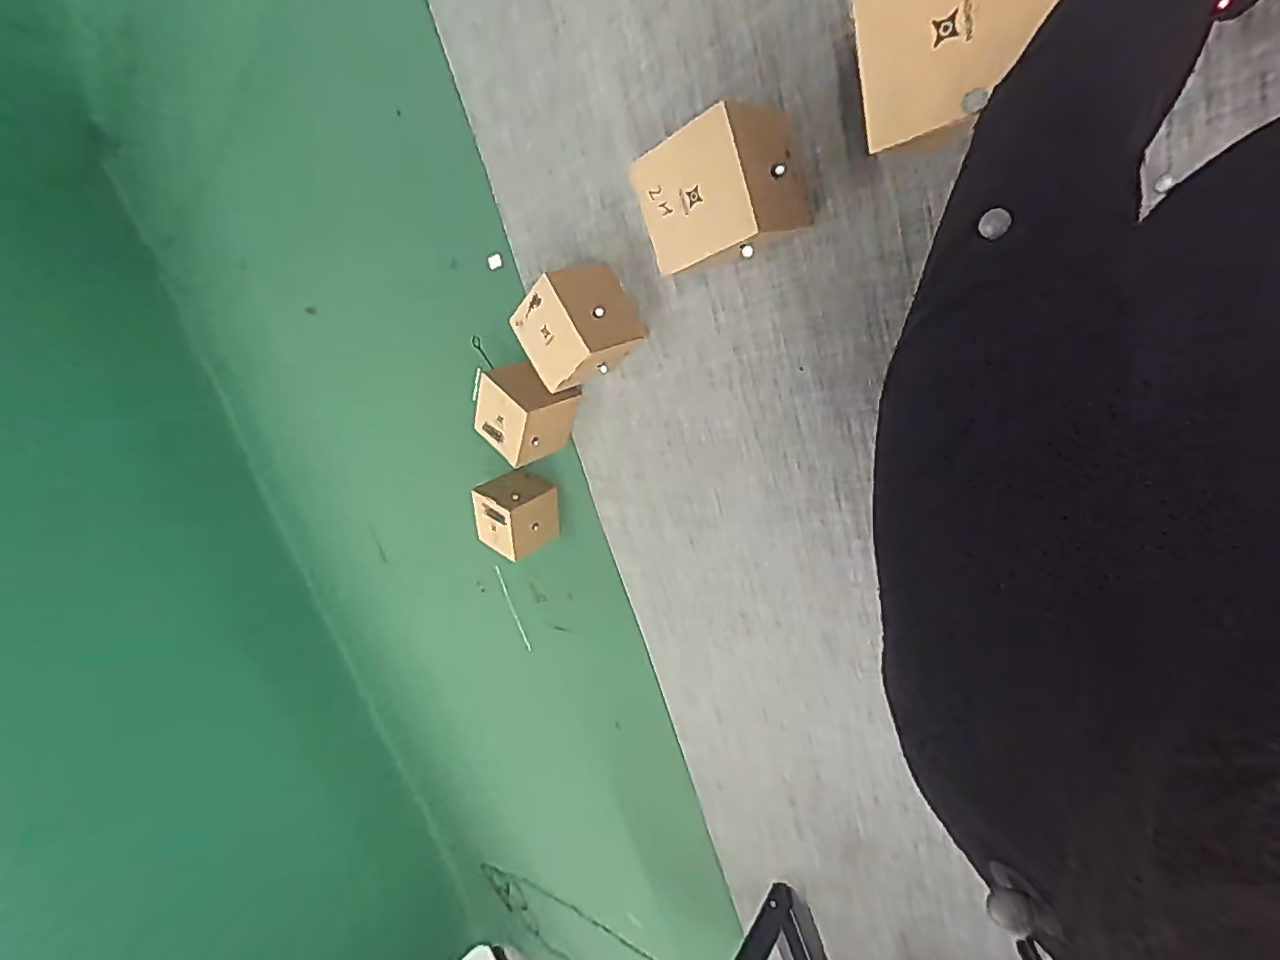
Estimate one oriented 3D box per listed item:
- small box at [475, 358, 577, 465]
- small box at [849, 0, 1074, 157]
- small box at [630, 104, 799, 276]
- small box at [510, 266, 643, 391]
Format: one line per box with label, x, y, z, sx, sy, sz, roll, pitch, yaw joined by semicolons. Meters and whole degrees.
small box;-0.277;-0.173;1.320;0.168;0.176;0.179;42;134;19
small box;0.348;-0.467;0.580;0.179;0.176;0.168;1;113;42
small box;0.121;-0.424;0.810;0.179;0.176;0.168;-7;107;44
small box;-0.126;-0.313;1.103;0.168;0.176;0.179;-29;91;47
